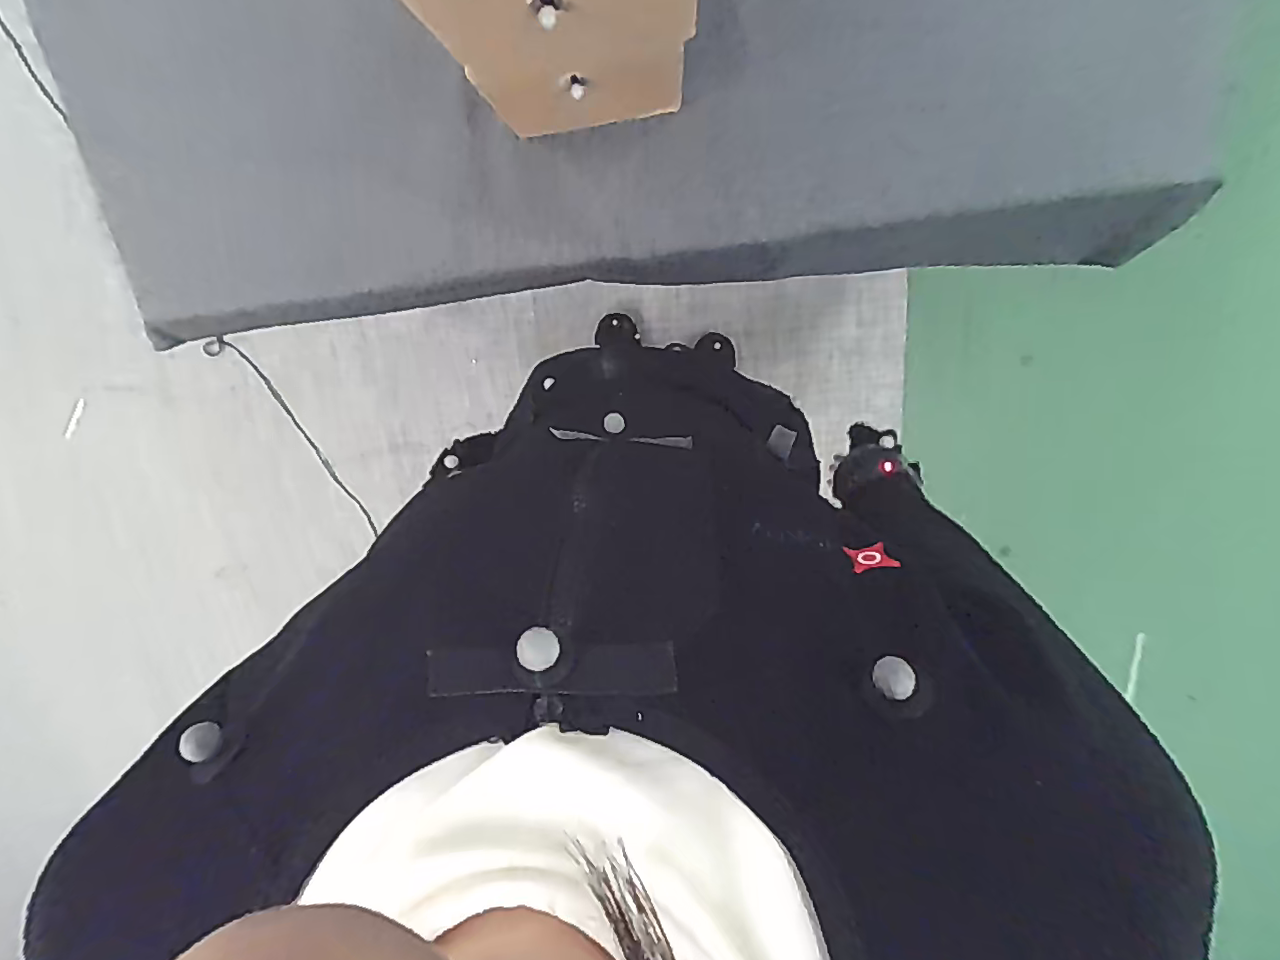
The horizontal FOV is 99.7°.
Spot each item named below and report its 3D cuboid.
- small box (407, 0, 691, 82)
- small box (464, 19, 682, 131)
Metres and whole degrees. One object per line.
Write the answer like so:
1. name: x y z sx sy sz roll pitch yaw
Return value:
1. small box: -0.059 -0.375 0.319 0.179 0.176 0.168 -10 108 6
2. small box: -0.057 -0.430 0.473 0.179 0.176 0.168 -6 108 5
